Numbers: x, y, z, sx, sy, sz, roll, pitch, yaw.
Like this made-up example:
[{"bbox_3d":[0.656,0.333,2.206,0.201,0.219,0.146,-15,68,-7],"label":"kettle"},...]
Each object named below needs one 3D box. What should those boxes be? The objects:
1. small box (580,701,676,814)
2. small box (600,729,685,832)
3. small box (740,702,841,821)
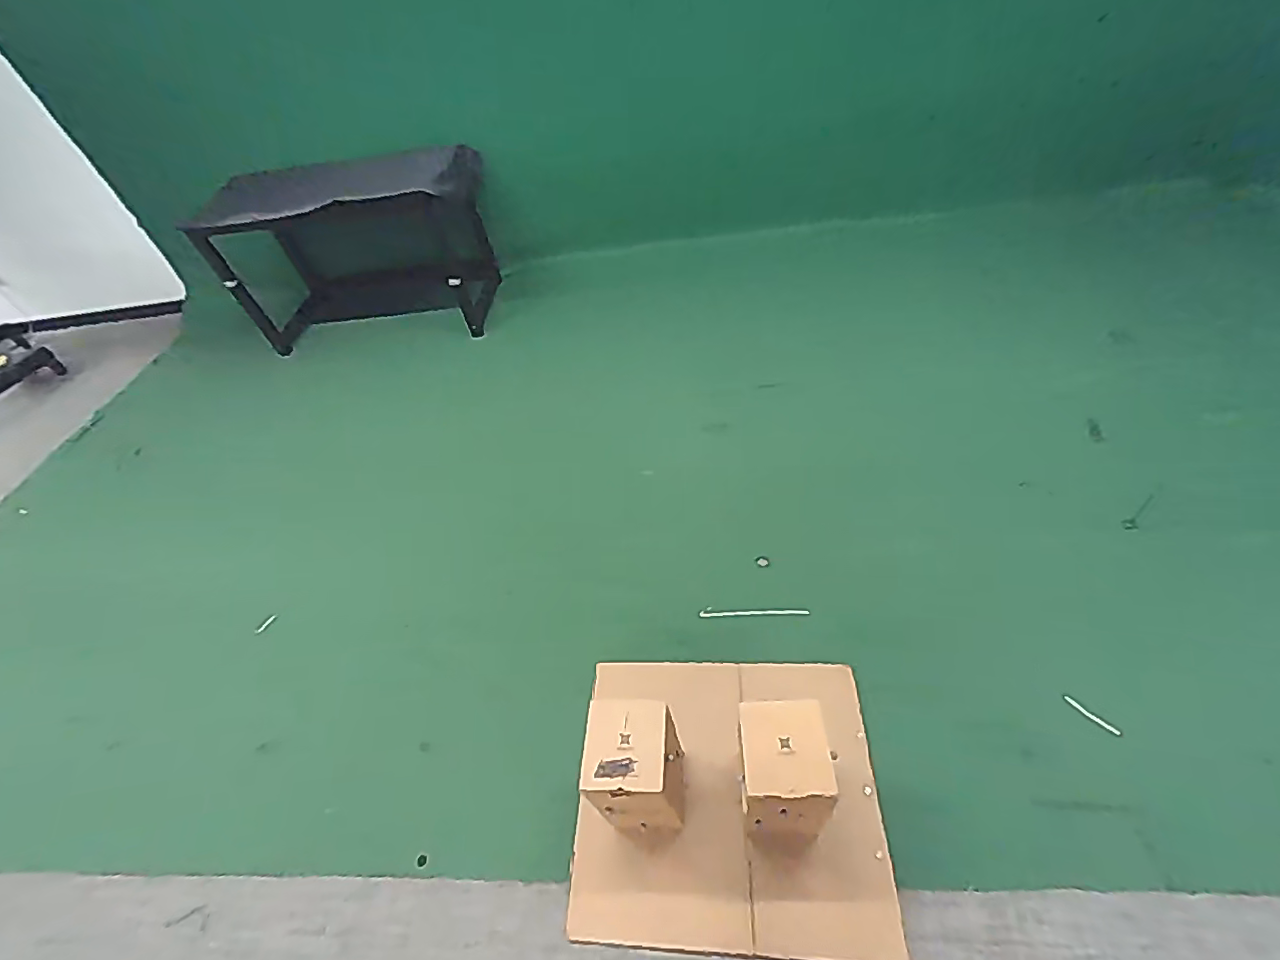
[{"bbox_3d":[-0.015,0.583,1.132,0.168,0.176,0.179,-3,46,10],"label":"small box"},{"bbox_3d":[0.012,0.694,1.250,0.168,0.176,0.179,-5,47,9],"label":"small box"},{"bbox_3d":[0.292,0.567,1.089,0.168,0.176,0.179,-5,47,7],"label":"small box"}]
